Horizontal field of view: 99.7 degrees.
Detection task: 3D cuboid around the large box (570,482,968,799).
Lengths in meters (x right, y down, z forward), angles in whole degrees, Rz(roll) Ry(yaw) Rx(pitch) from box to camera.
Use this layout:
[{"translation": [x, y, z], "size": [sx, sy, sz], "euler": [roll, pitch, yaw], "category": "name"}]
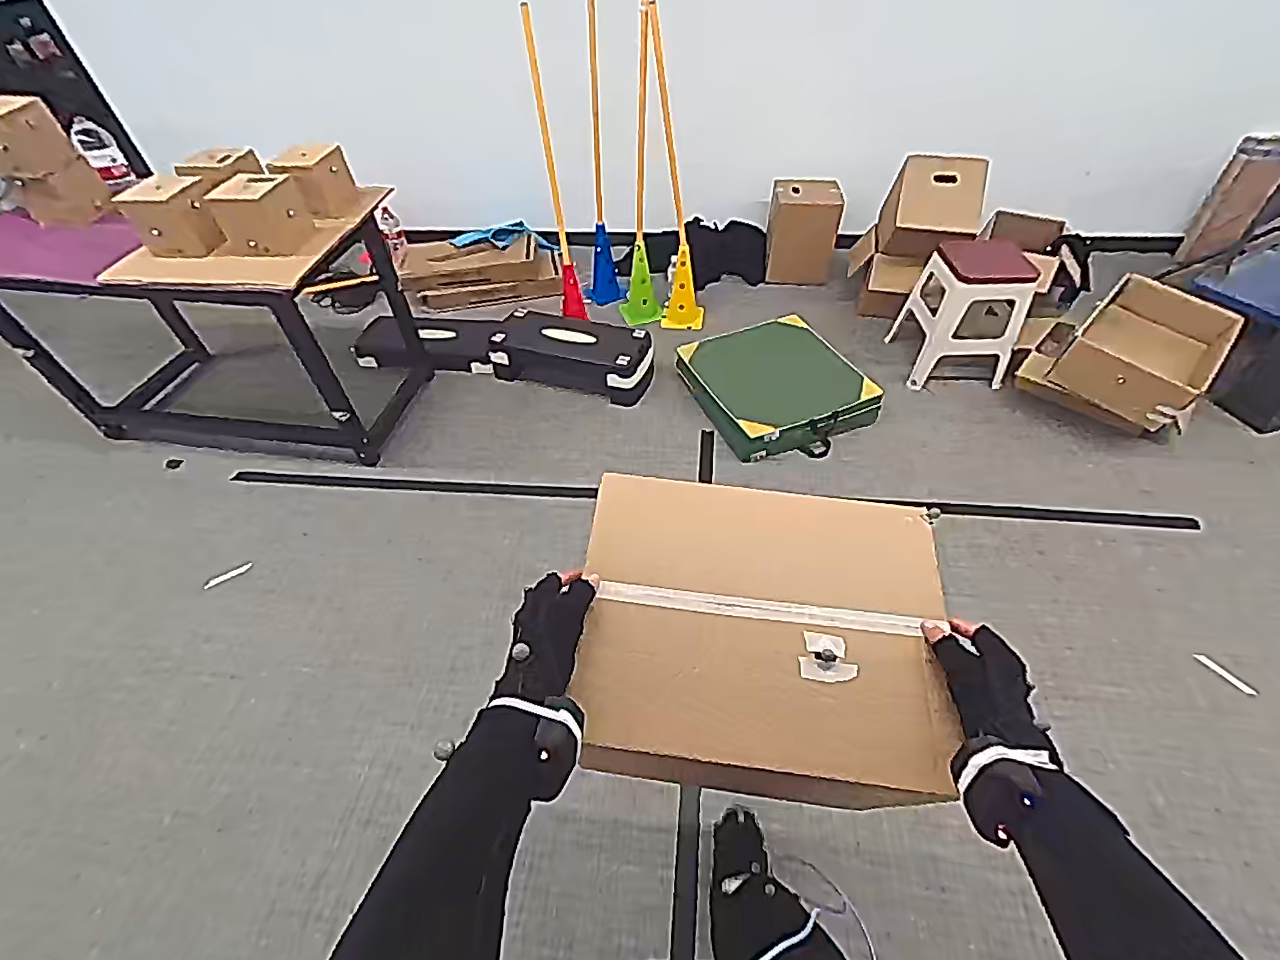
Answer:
[{"translation": [0.137, 0.229, 0.738], "size": [0.408, 0.320, 0.320], "euler": [6, 58, 3], "category": "large box"}]
